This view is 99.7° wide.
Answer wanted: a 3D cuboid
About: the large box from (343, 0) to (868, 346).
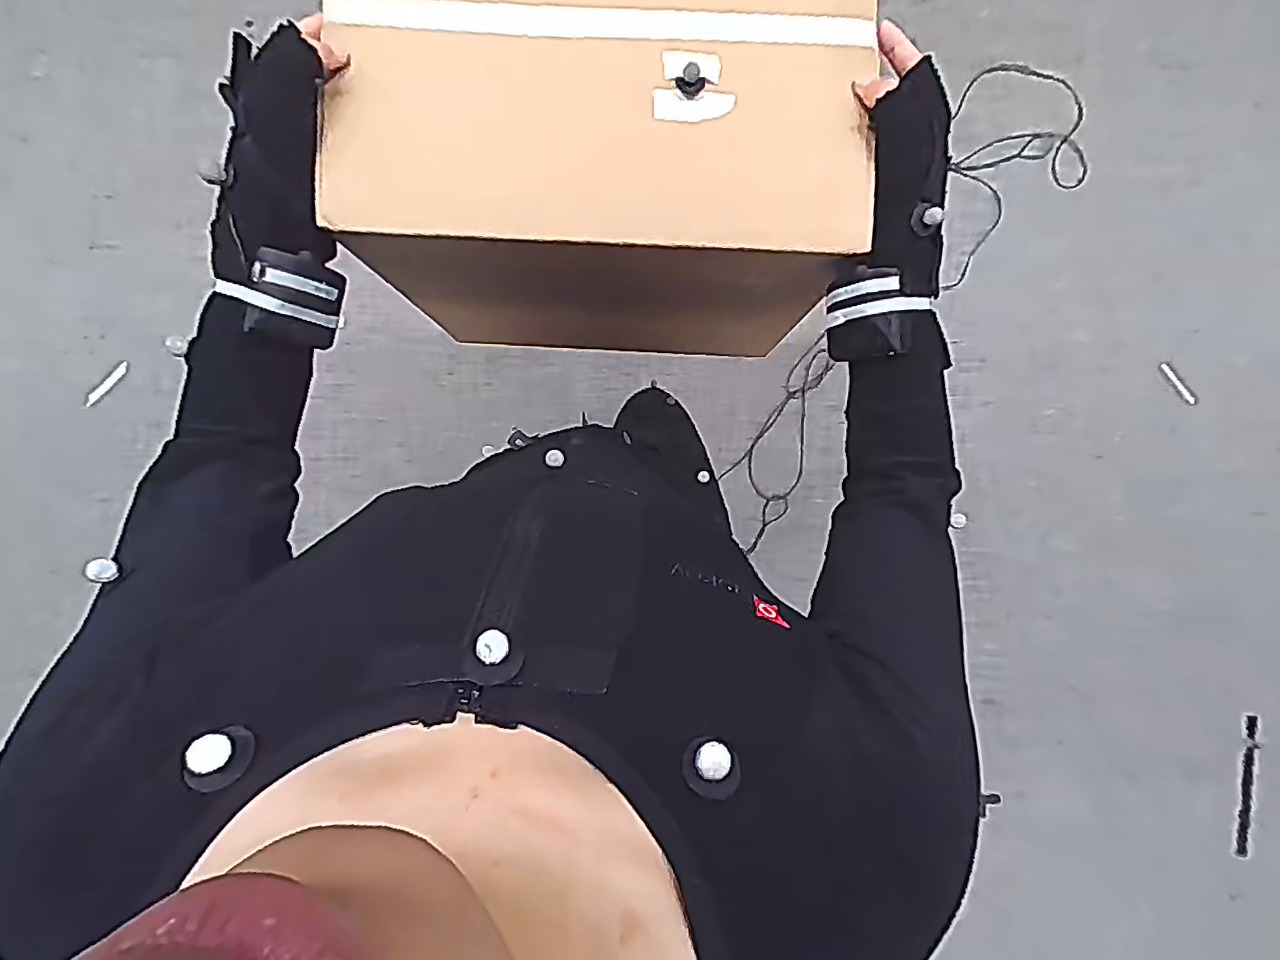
[{"bbox_3d":[-0.027,-0.334,0.563,0.408,0.320,0.320,2,89,-1],"label":"large box"}]
